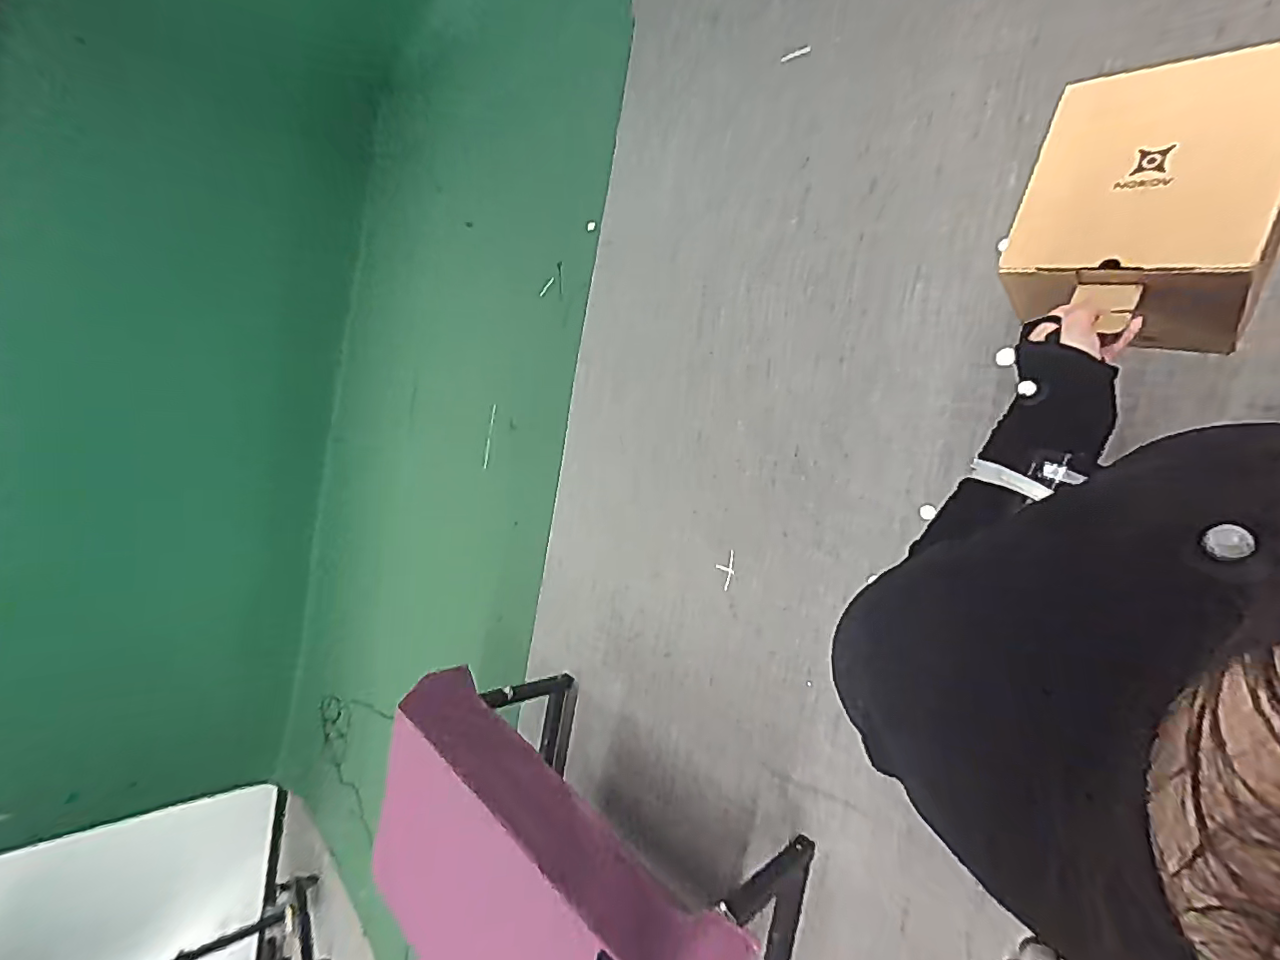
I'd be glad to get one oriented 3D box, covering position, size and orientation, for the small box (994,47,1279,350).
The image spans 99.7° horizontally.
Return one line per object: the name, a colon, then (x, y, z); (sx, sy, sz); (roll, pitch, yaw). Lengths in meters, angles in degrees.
small box: (0.461, -0.239, 0.499); (0.168, 0.176, 0.179); (22, 95, 44)
